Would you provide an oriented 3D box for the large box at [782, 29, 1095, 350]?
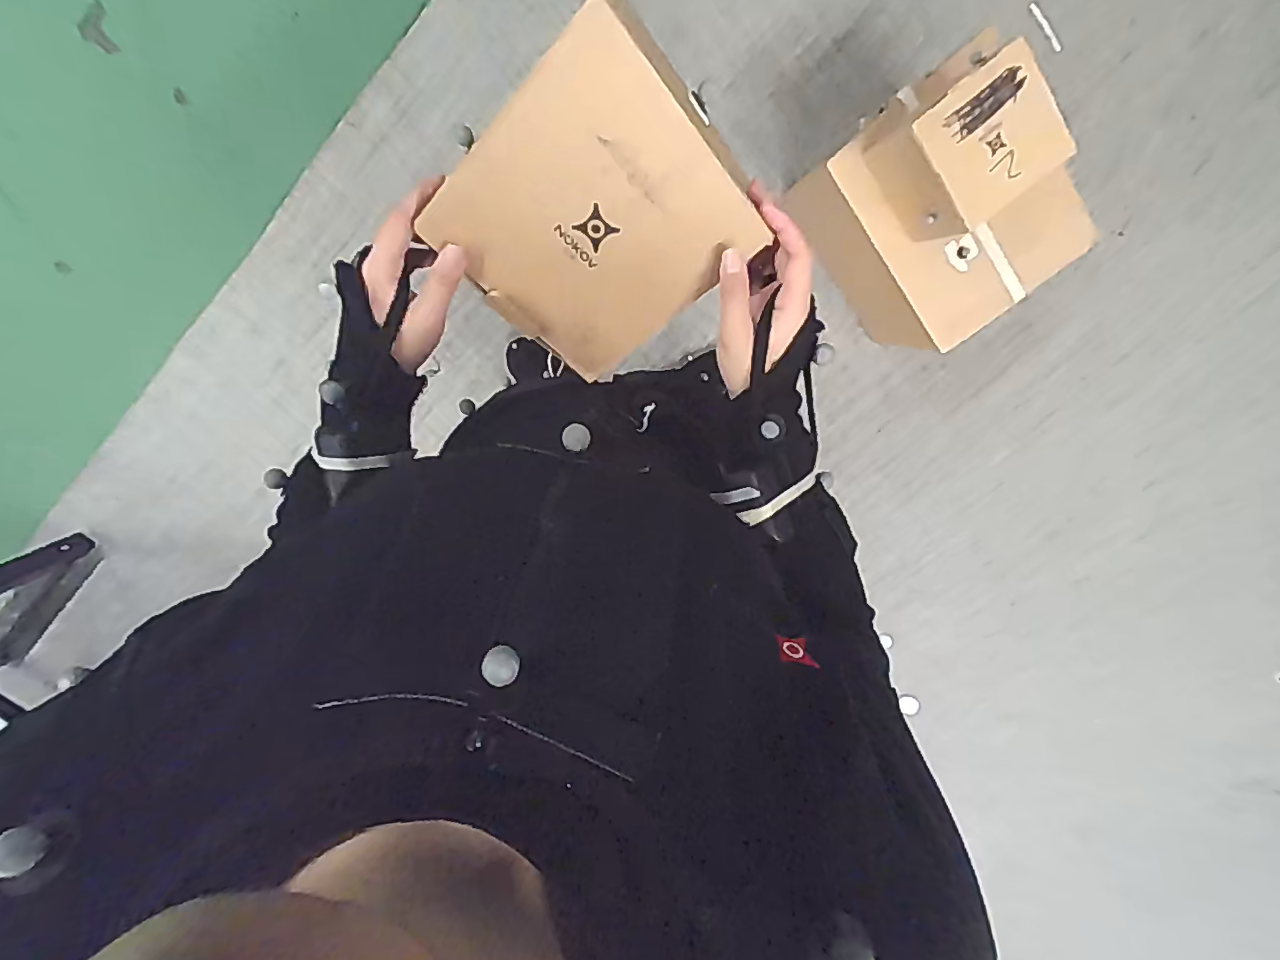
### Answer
[{"bbox_3d":[0.548,-0.521,1.059,0.320,0.320,0.408,-37,105,12],"label":"large box"}]
